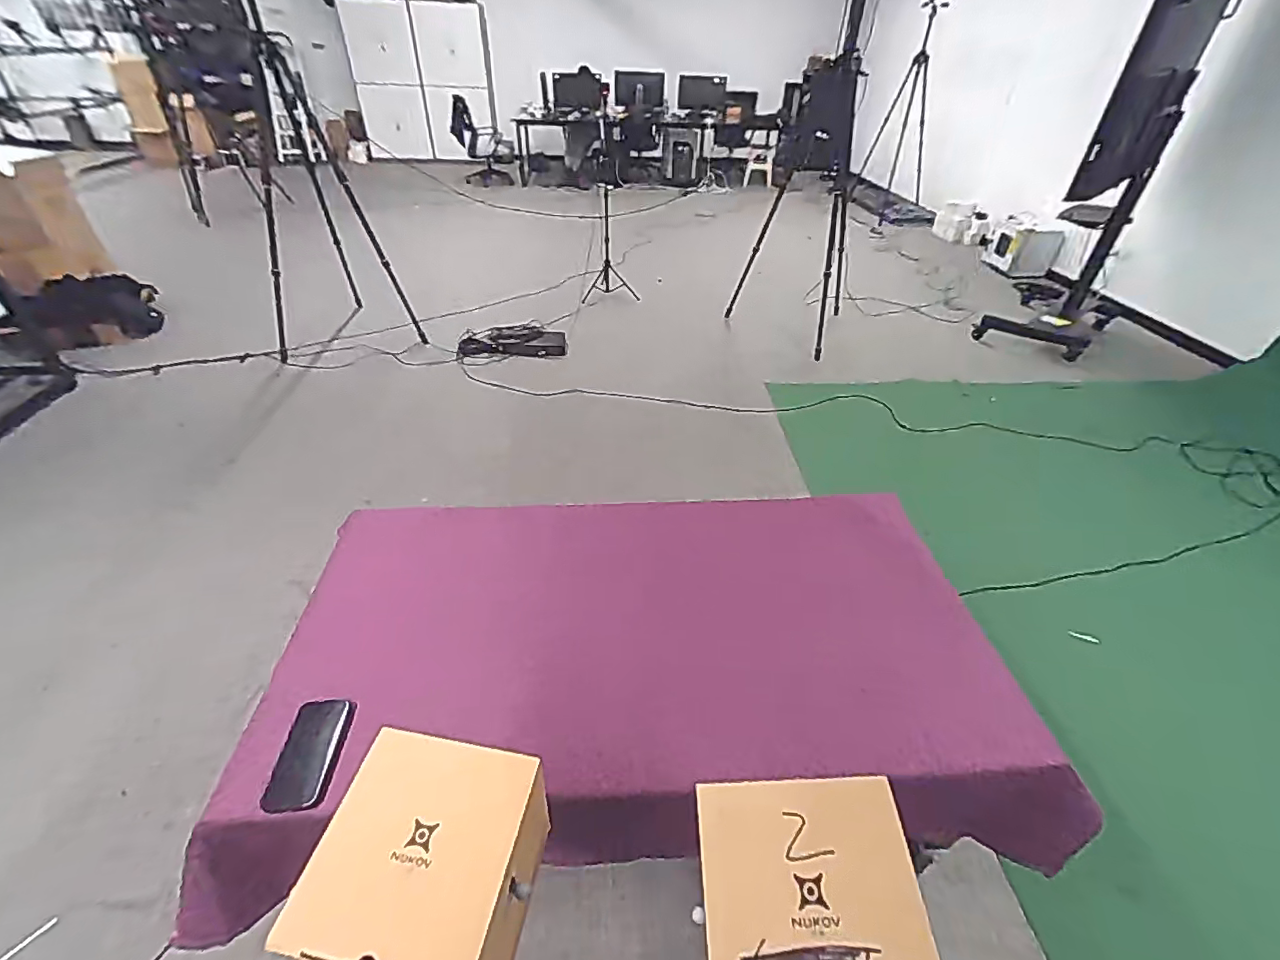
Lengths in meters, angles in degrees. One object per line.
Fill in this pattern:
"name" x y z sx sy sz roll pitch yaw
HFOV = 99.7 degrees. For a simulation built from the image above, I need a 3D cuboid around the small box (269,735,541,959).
"small box" -0.198 0.384 0.521 0.168 0.176 0.179 8 40 5
